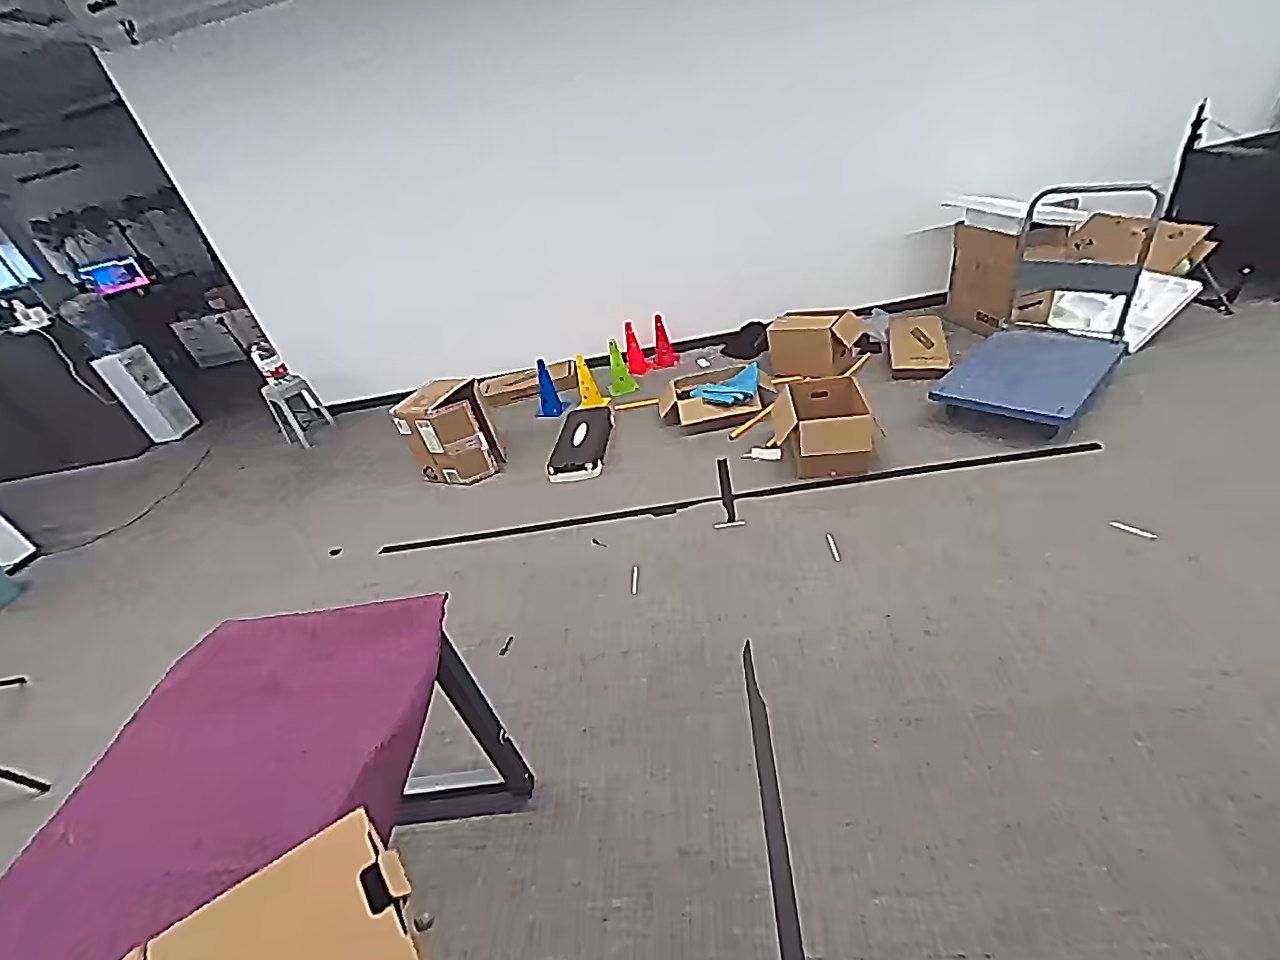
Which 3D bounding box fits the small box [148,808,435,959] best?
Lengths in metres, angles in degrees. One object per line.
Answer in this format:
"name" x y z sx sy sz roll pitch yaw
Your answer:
"small box" -0.293 0.458 0.487 0.179 0.176 0.168 -24 40 -32
